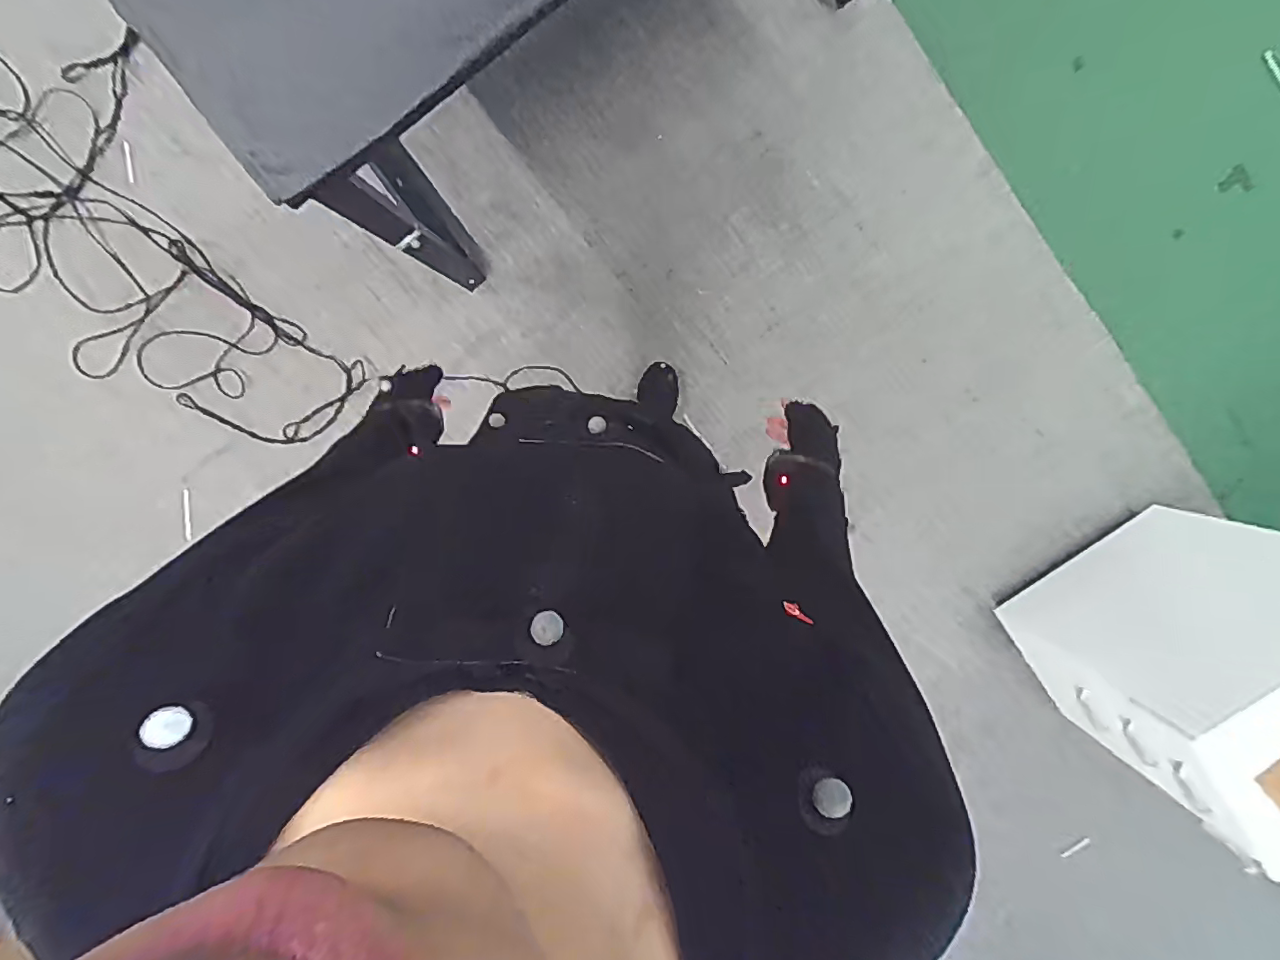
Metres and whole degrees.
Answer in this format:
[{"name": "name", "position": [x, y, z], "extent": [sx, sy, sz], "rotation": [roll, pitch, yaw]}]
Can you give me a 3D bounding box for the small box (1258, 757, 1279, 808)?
[{"name": "small box", "position": [1.205, 0.547, 0.881], "extent": [0.168, 0.176, 0.179], "rotation": [-43, 97, 6]}]
